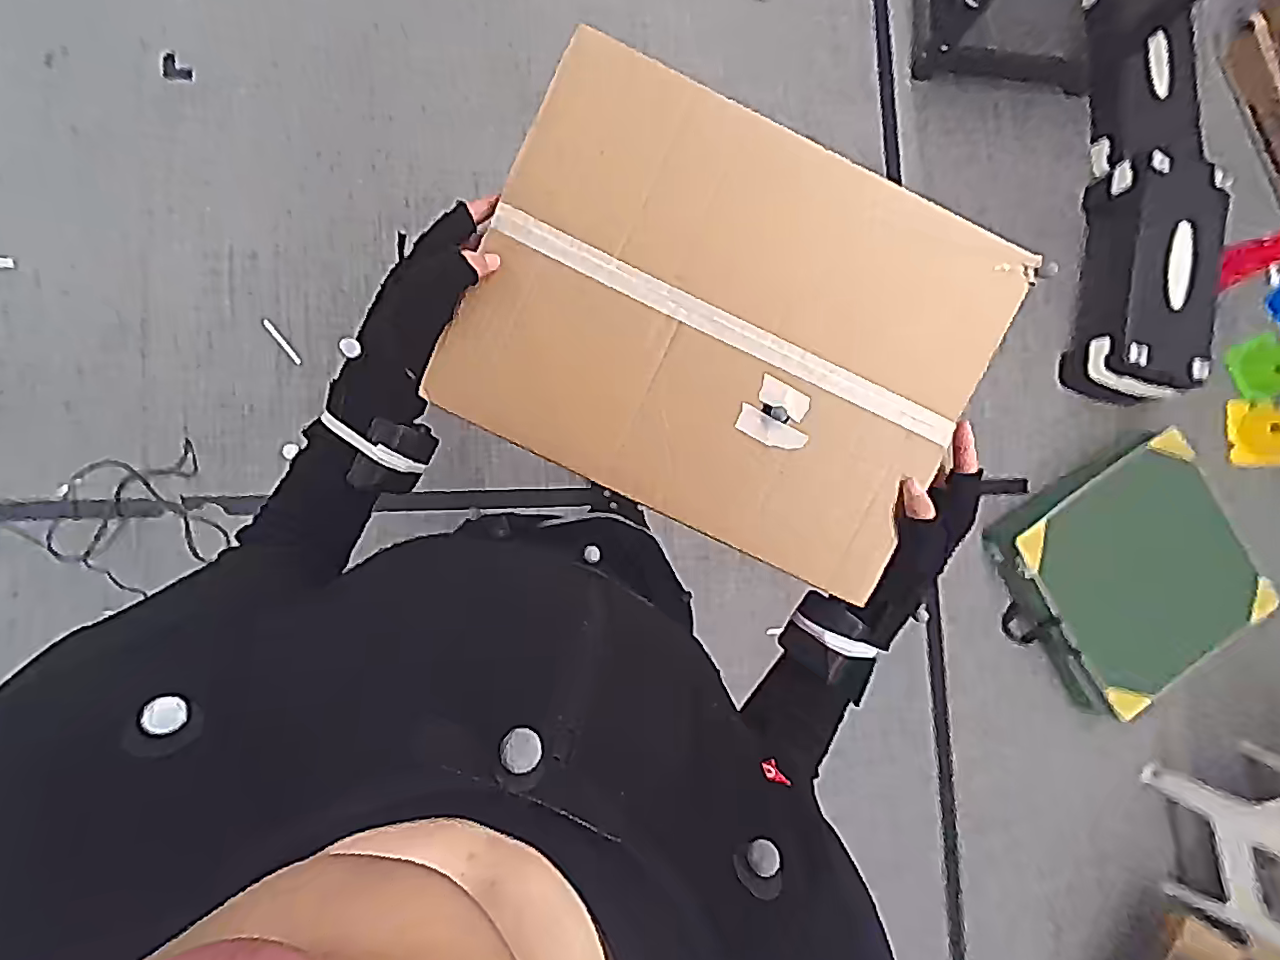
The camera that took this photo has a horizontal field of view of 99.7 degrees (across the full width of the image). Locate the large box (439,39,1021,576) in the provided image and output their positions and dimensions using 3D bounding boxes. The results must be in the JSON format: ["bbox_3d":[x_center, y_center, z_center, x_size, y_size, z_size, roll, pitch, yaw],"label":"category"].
[{"bbox_3d":[0.070,-0.145,0.594,0.408,0.320,0.320,25,95,-3],"label":"large box"}]
